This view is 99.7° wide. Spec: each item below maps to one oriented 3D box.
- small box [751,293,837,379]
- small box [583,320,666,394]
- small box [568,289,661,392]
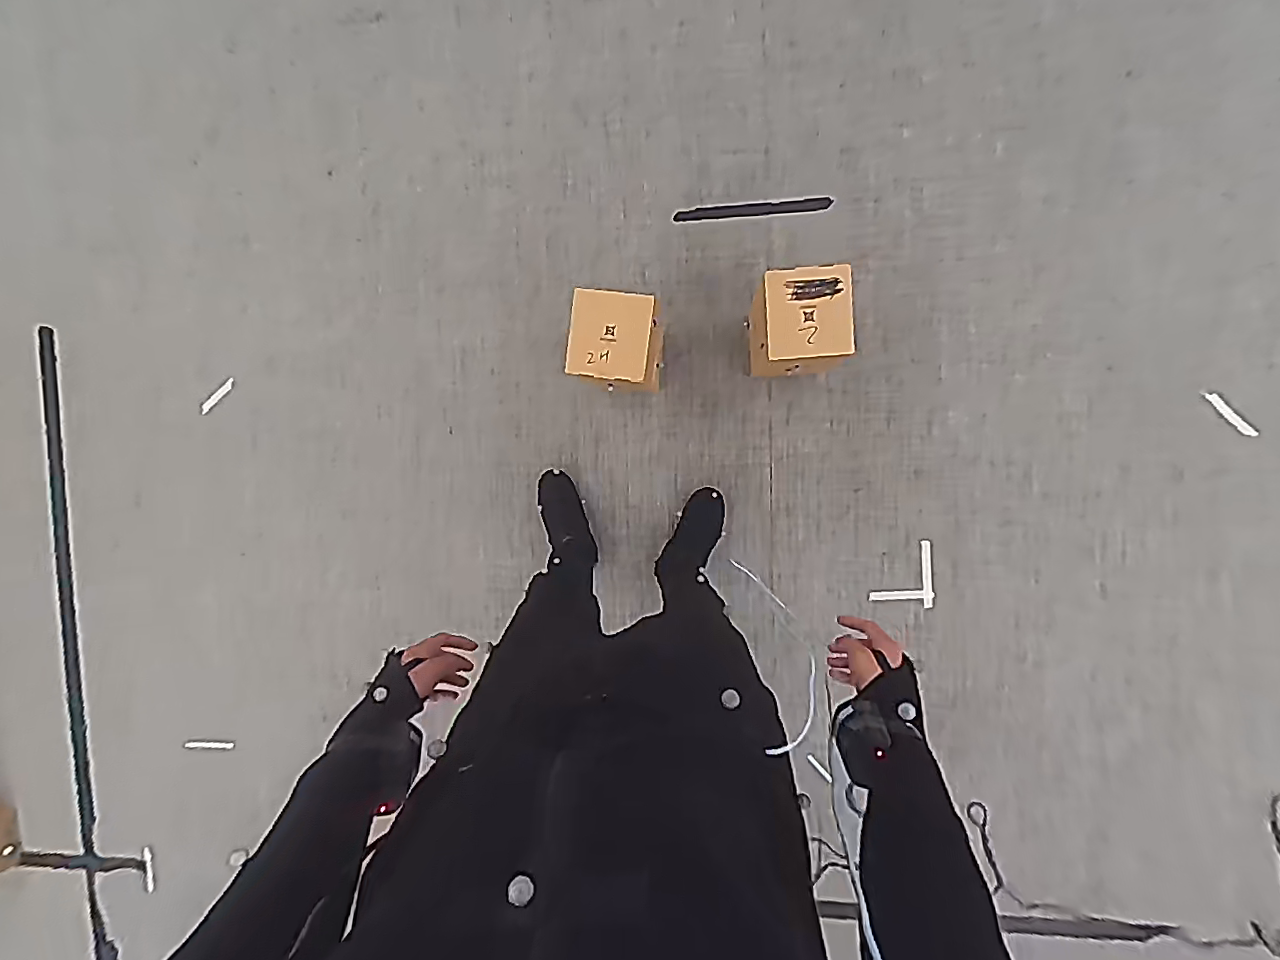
[{"bbox_3d":[0.360,-0.337,1.294,0.179,0.176,0.168,-2,94,5],"label":"small box"},{"bbox_3d":[-0.033,-0.308,1.335,0.179,0.176,0.168,7,94,6],"label":"small box"},{"bbox_3d":[-0.048,-0.295,1.171,0.168,0.176,0.179,9,95,6],"label":"small box"}]
